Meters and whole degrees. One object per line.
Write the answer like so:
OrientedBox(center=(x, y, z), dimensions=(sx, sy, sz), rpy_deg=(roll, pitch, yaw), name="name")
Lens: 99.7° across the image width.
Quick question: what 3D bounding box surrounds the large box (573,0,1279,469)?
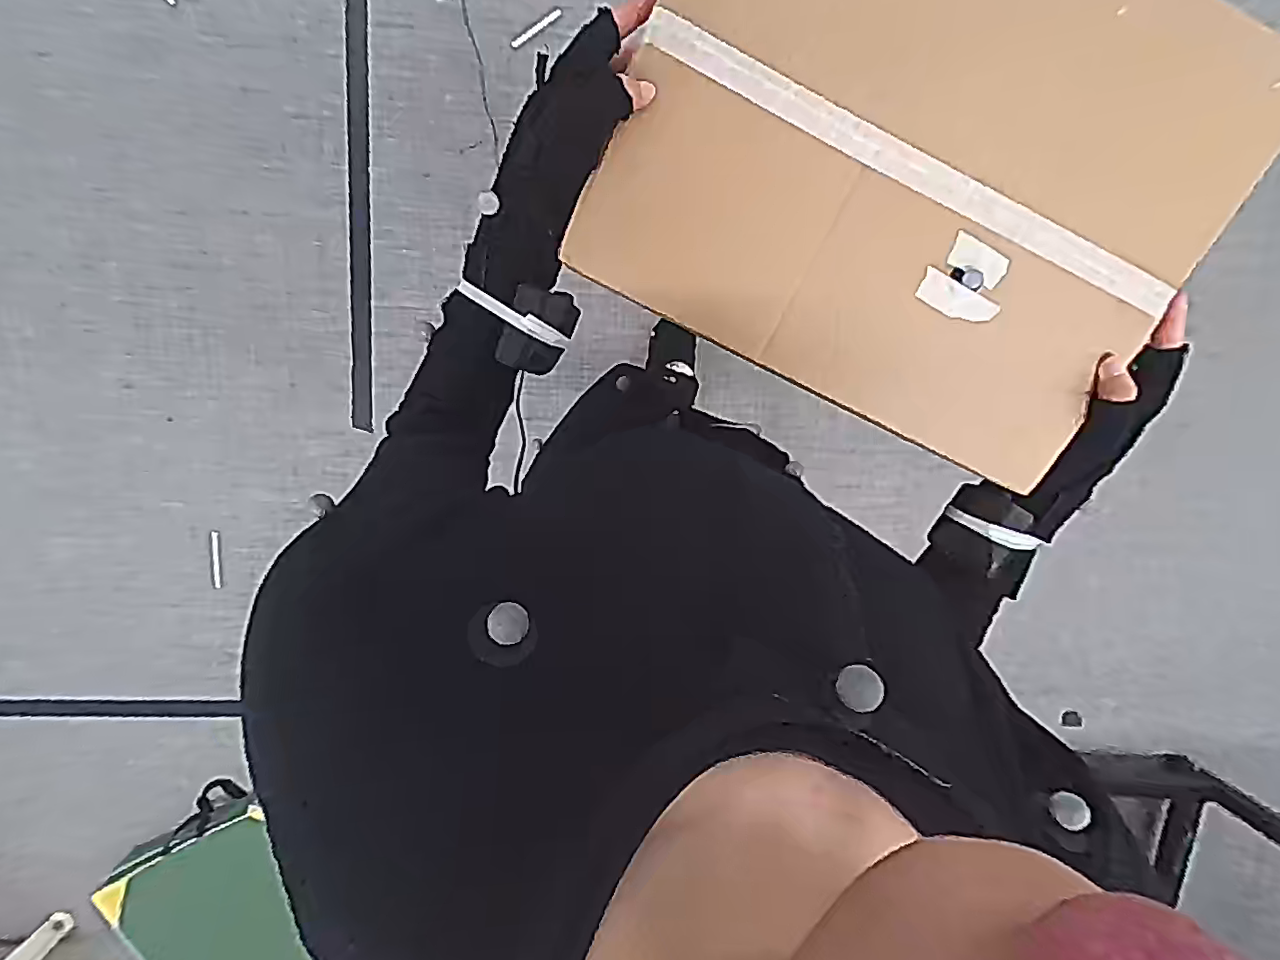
OrientedBox(center=(0.193, -0.262, 0.522), dimensions=(0.408, 0.320, 0.320), rpy_deg=(26, 107, -5), name="large box")
